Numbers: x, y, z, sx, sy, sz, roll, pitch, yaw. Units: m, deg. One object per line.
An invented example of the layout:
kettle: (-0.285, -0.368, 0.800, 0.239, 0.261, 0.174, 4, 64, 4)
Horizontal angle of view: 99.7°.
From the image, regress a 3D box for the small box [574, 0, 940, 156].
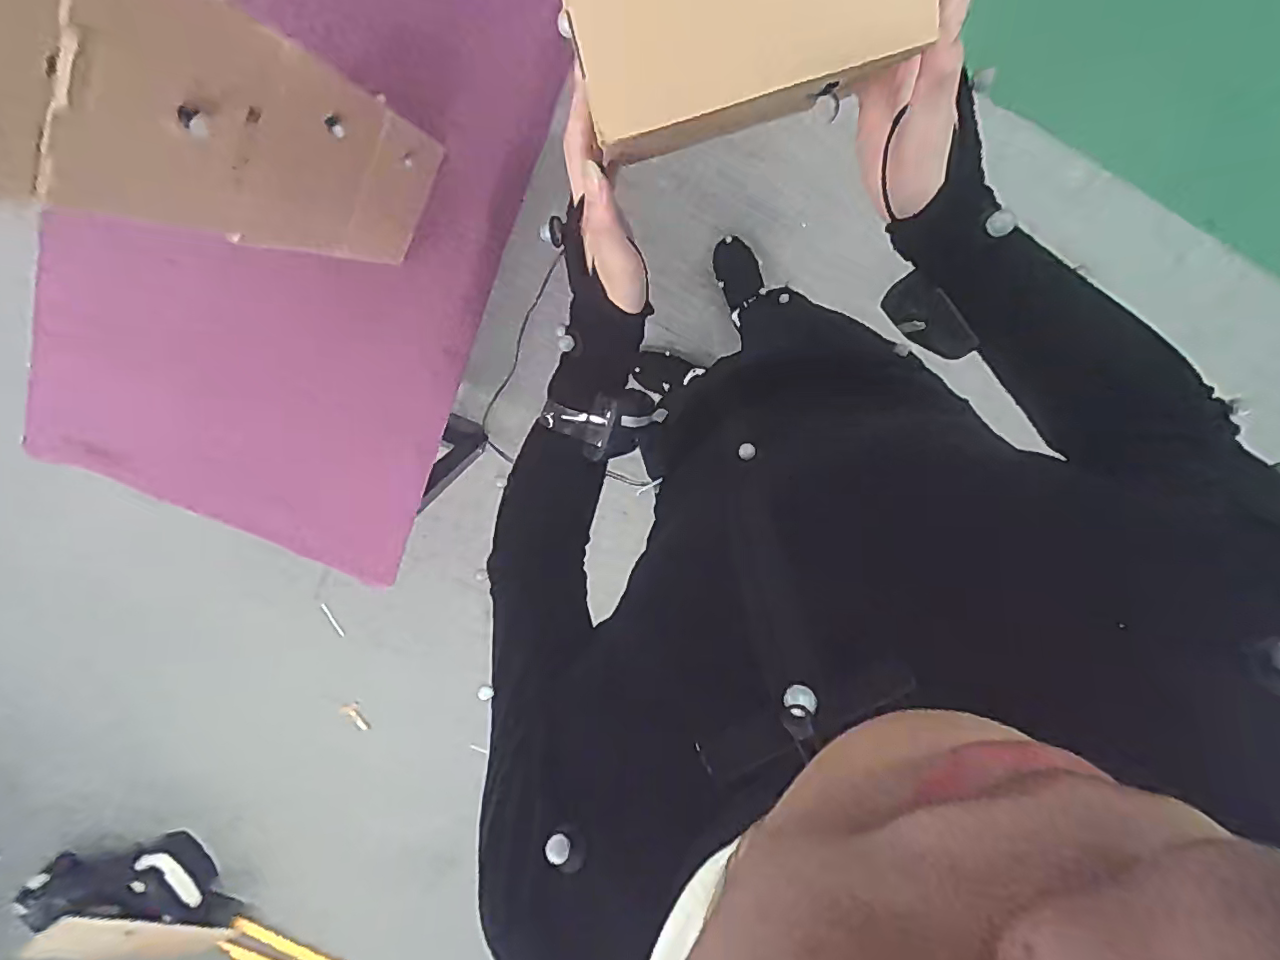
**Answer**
small box: (0.051, -0.310, 0.318, 0.179, 0.176, 0.168, -11, 114, 10)

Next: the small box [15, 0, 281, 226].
small box: (-0.404, -0.303, 0.383, 0.179, 0.176, 0.168, 28, 107, -7)

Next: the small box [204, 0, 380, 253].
small box: (-0.392, -0.350, 0.538, 0.168, 0.176, 0.179, 29, 108, -7)
